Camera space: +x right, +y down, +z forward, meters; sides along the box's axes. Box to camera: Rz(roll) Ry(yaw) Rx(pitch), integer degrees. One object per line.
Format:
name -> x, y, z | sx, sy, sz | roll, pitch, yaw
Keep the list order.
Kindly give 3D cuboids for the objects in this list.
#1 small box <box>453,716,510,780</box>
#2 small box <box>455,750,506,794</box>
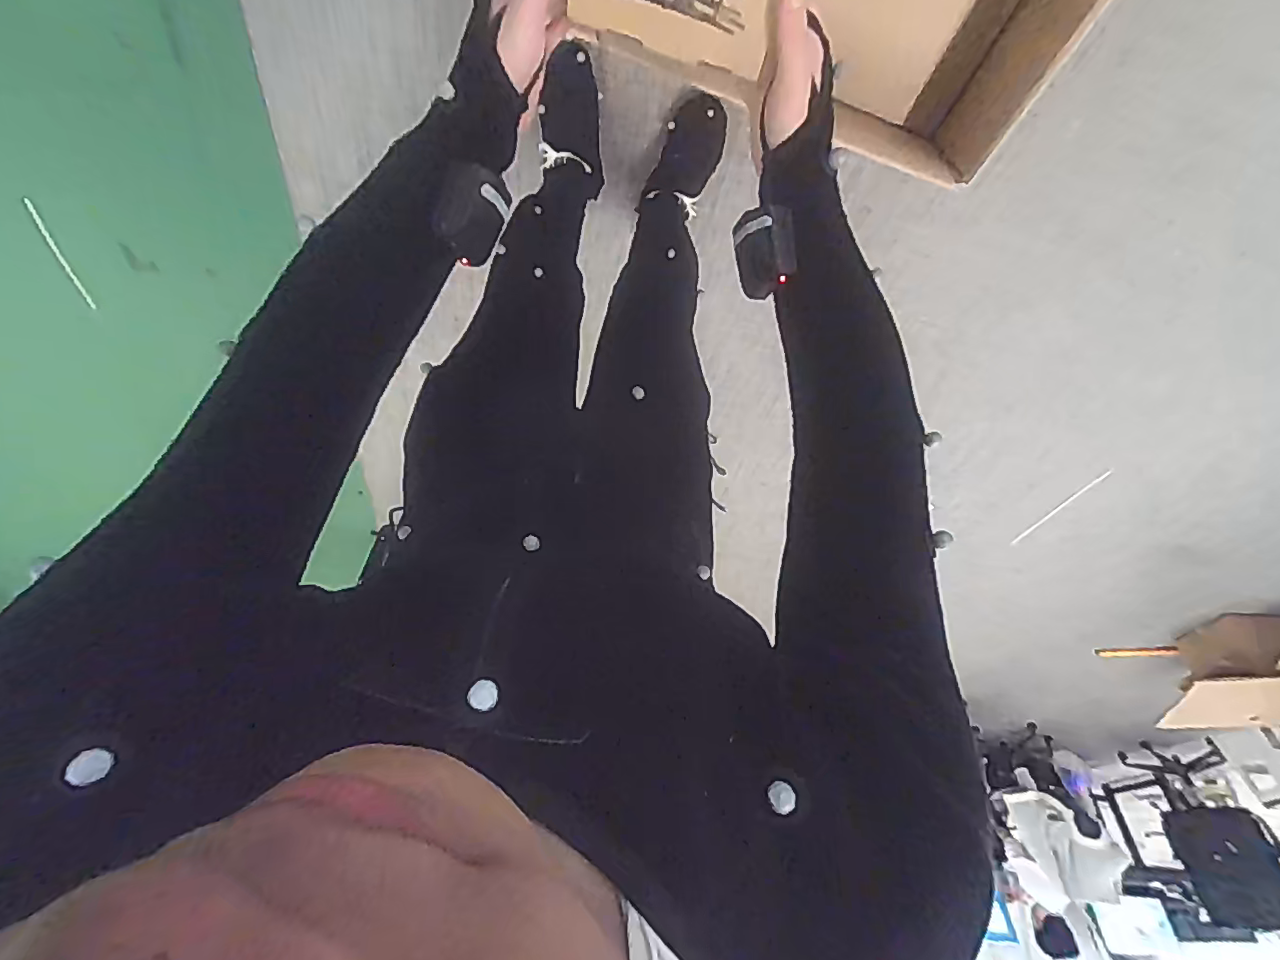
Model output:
small box -> -0.575, 0.978, 1.972 | 0.168, 0.176, 0.179 | 11, 141, -7
small box -> -0.646, 1.163, 2.207 | 0.168, 0.176, 0.179 | 10, 140, -6
